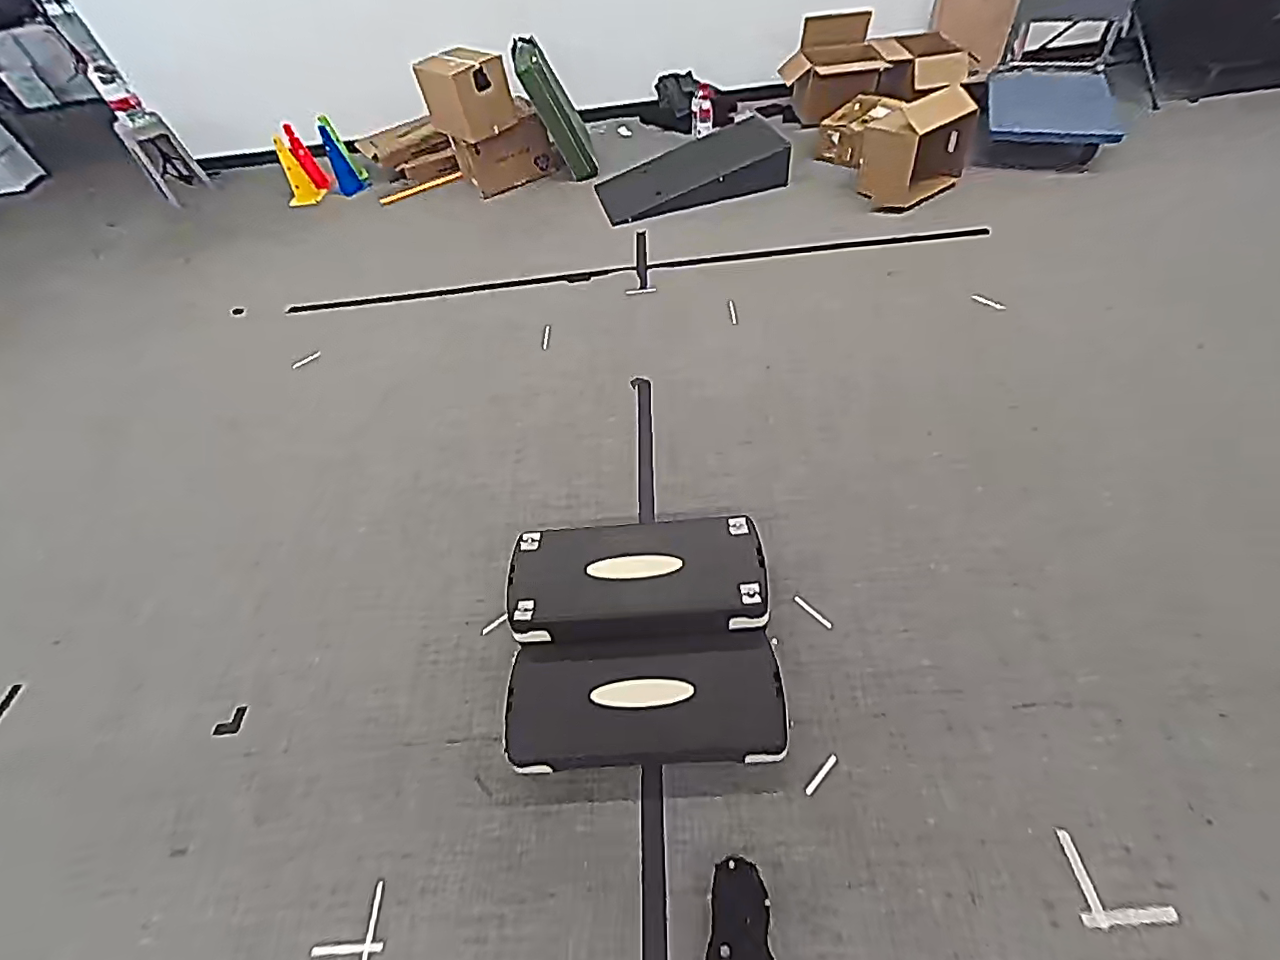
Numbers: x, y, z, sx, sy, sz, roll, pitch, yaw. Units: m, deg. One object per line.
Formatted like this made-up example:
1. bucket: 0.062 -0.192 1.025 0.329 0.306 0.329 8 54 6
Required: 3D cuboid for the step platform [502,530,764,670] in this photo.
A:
1. step platform: -0.019 0.317 1.452 0.684 0.204 0.286 -5 52 2
